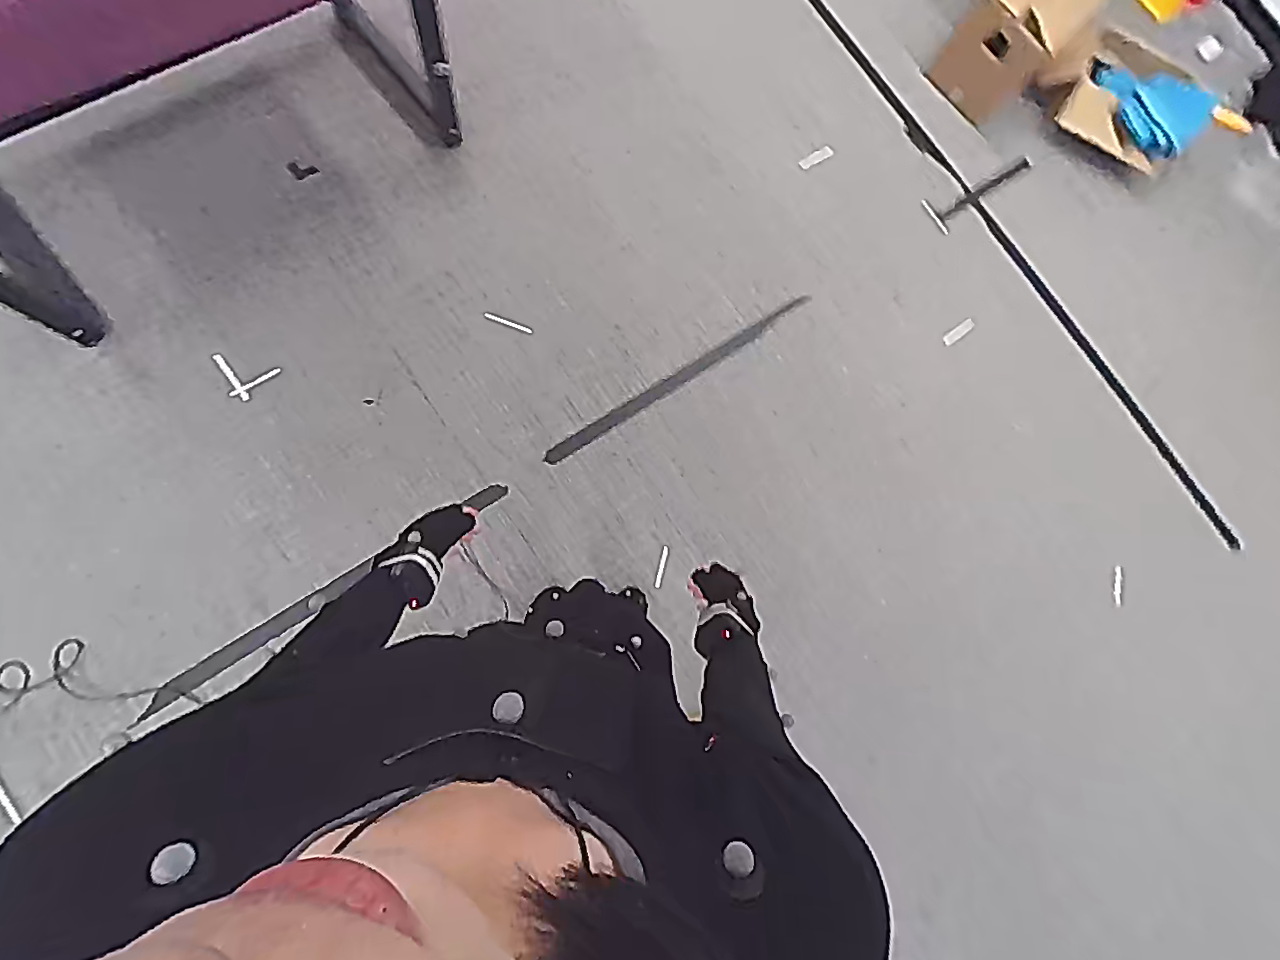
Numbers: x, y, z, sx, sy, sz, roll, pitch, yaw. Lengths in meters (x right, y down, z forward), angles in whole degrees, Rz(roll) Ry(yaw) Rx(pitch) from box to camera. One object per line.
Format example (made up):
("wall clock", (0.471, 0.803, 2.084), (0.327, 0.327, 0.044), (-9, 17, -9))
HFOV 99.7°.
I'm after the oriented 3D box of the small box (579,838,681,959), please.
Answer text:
("small box", (-0.033, 1.005, 1.280), (0.179, 0.176, 0.168), (-34, 87, -16))
